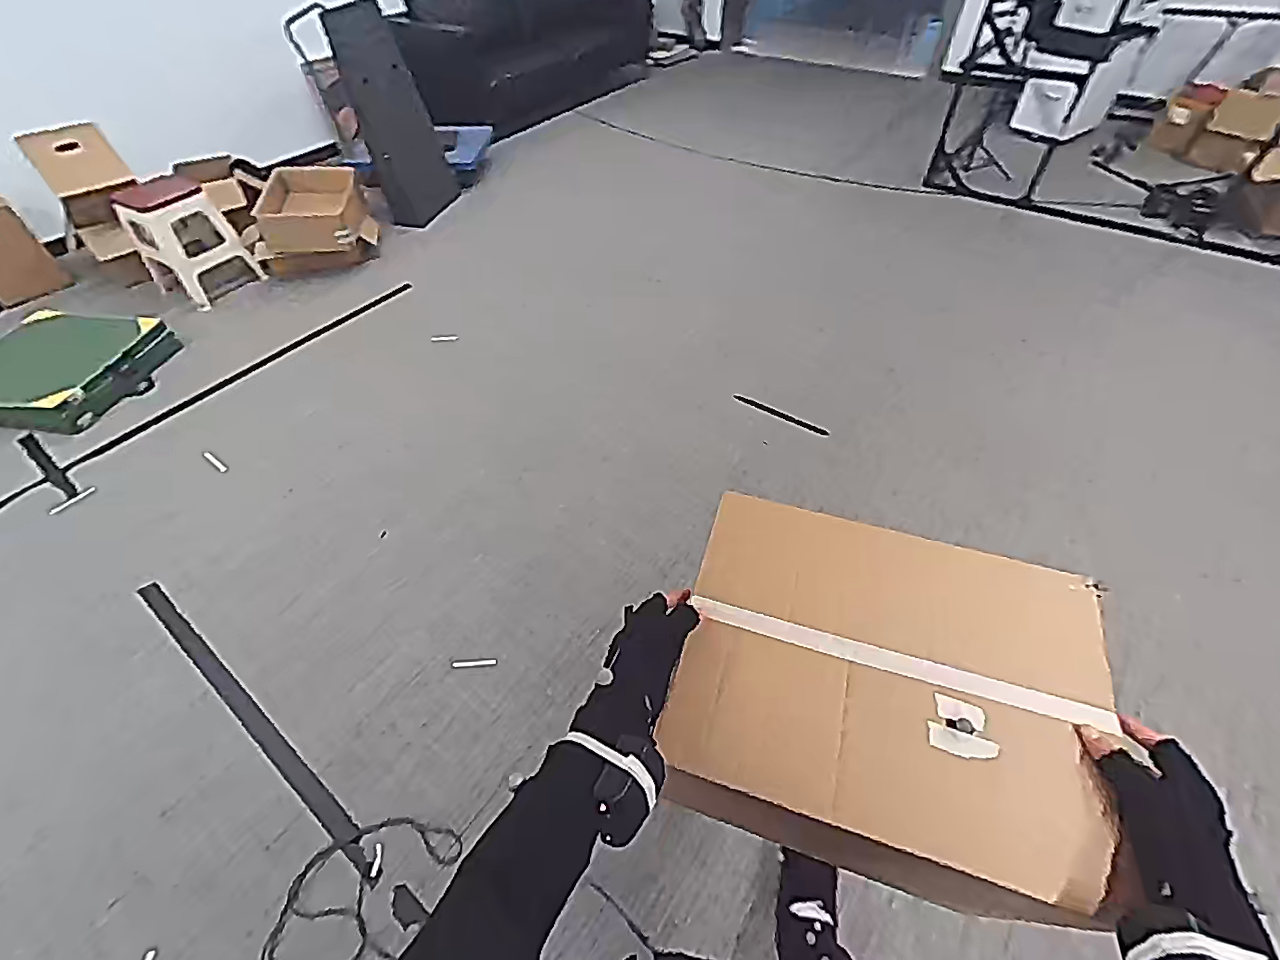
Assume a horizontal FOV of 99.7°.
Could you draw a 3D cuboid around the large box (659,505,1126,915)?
[{"bbox_3d":[0.253,0.277,0.676,0.408,0.320,0.320,14,57,12],"label":"large box"}]
